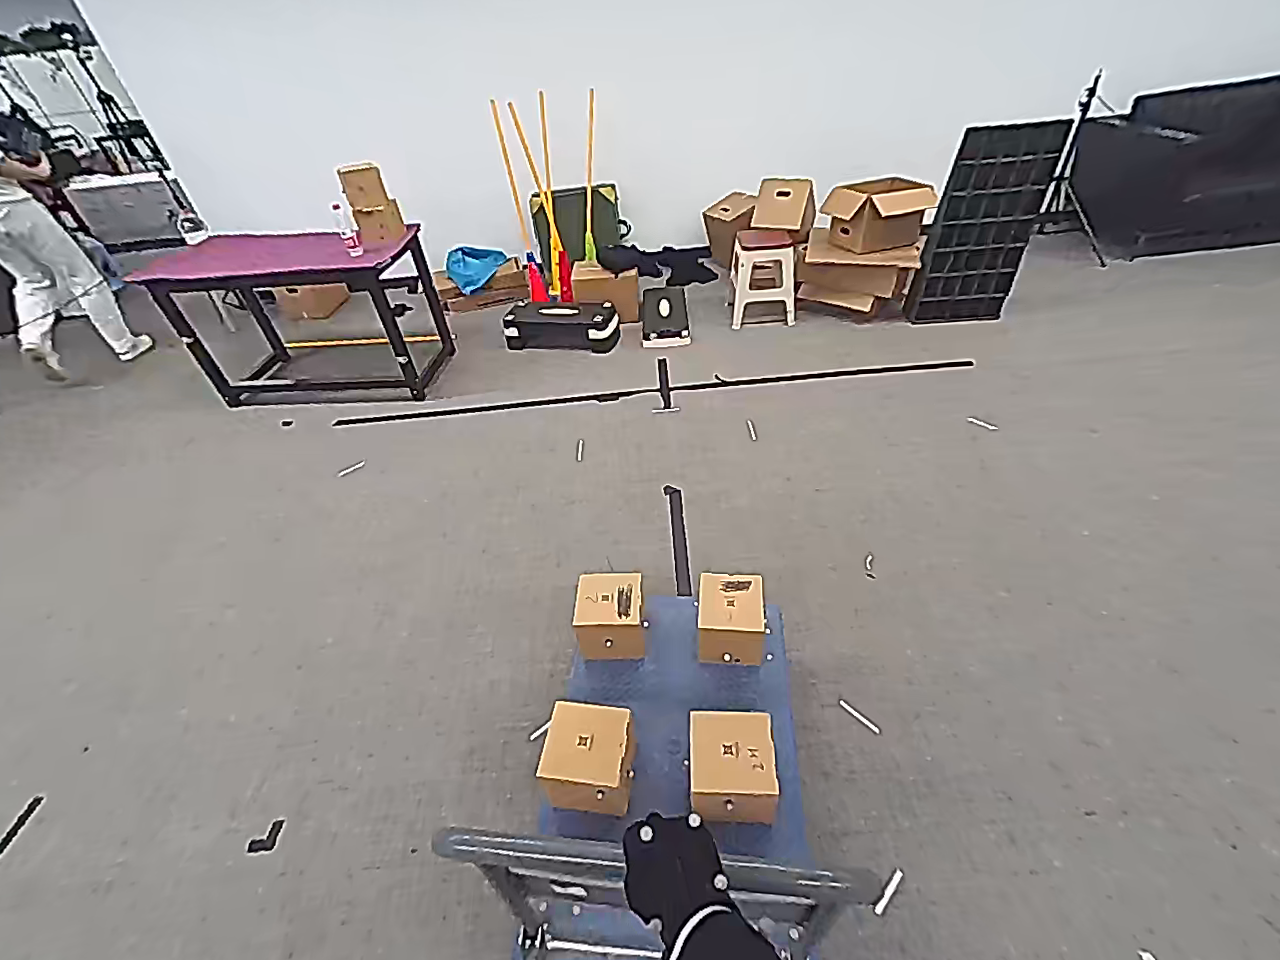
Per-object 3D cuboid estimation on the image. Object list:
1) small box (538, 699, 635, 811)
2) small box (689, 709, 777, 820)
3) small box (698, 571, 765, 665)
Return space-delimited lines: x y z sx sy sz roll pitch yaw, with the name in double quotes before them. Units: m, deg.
"small box" -0.111 0.615 1.210 0.179 0.176 0.168 4 41 8
"small box" 0.196 0.618 1.174 0.179 0.176 0.168 0 42 6
"small box" 0.243 0.369 1.449 0.168 0.176 0.179 2 43 9
